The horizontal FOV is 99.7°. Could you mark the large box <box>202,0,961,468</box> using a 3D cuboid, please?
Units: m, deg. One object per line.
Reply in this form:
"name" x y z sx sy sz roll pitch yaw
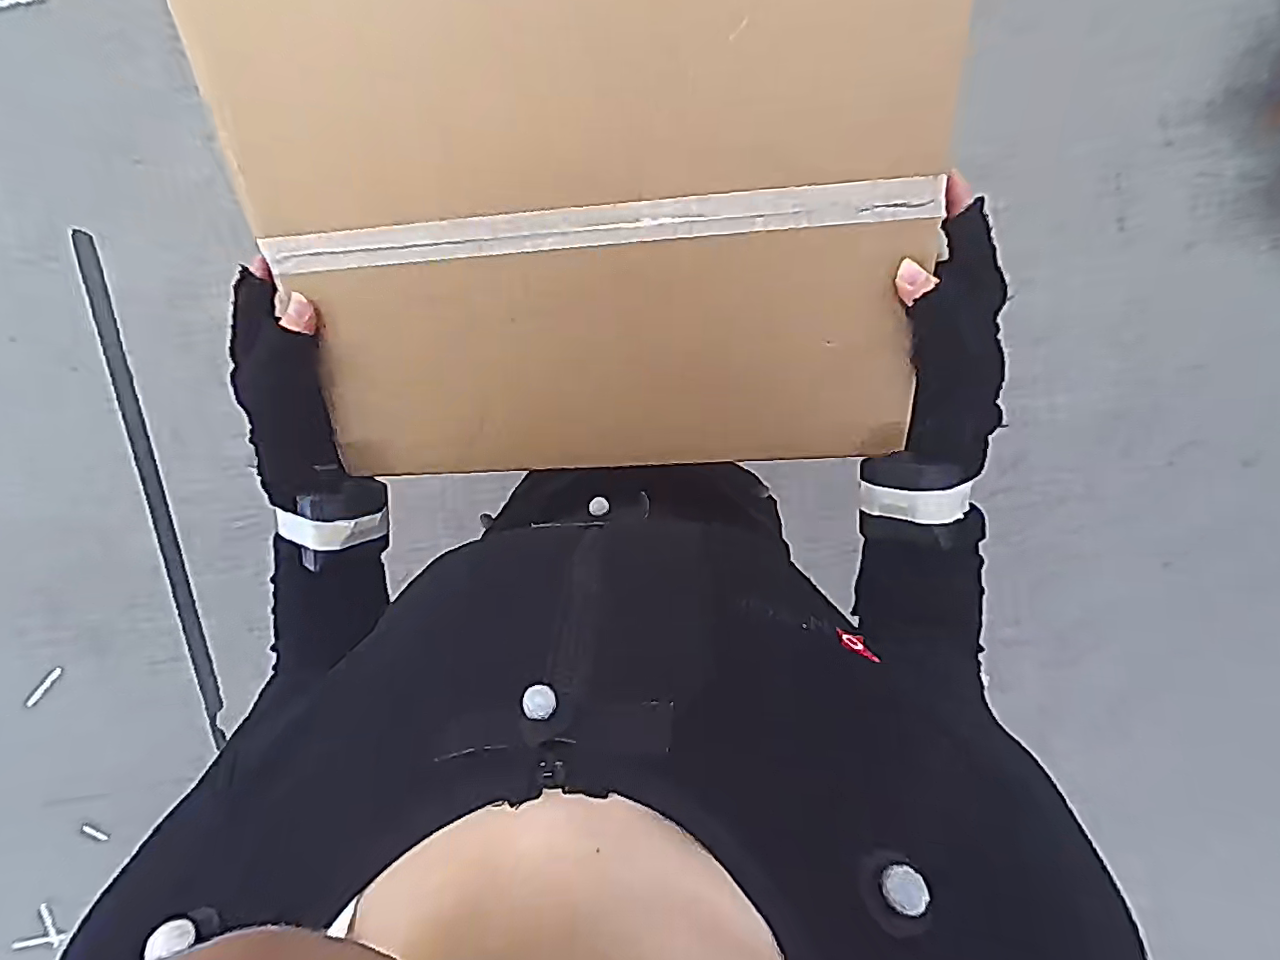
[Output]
"large box" -0.020 -0.222 0.462 0.408 0.320 0.320 -2 119 5
